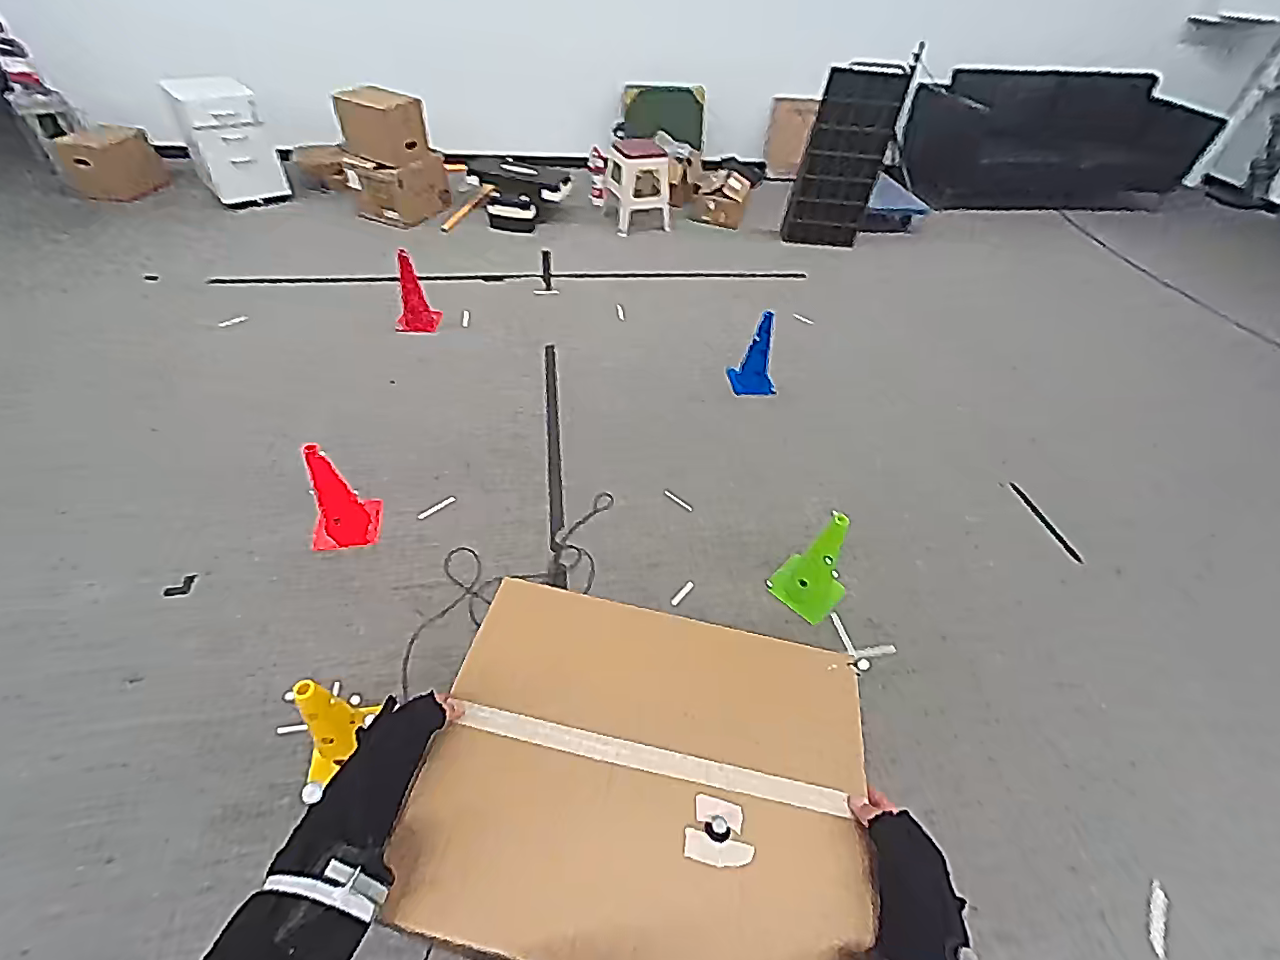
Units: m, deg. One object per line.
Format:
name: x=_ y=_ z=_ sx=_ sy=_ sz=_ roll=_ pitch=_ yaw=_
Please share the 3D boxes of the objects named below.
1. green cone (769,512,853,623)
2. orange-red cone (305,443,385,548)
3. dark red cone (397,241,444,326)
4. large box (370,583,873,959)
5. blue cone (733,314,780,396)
green cone: x=0.564 y=0.234 z=1.643 sx=0.200 sy=0.368 sz=0.202 roll=37 pitch=52 yaw=26
orange-red cone: x=-0.959 y=0.026 z=1.694 sx=0.198 sy=0.360 sz=0.199 roll=-6 pitch=49 yaw=-10
dark red cone: x=-1.071 y=-0.932 z=2.566 sx=0.201 sy=0.394 sz=0.202 roll=2 pitch=46 yaw=-5
large box: x=-0.009 y=0.364 z=0.616 sx=0.408 sy=0.320 sz=0.320 roll=12 pitch=45 yaw=3
blue cone: x=0.555 y=-0.572 z=2.437 sx=0.192 sy=0.380 sz=0.193 roll=0 pitch=47 yaw=-7
